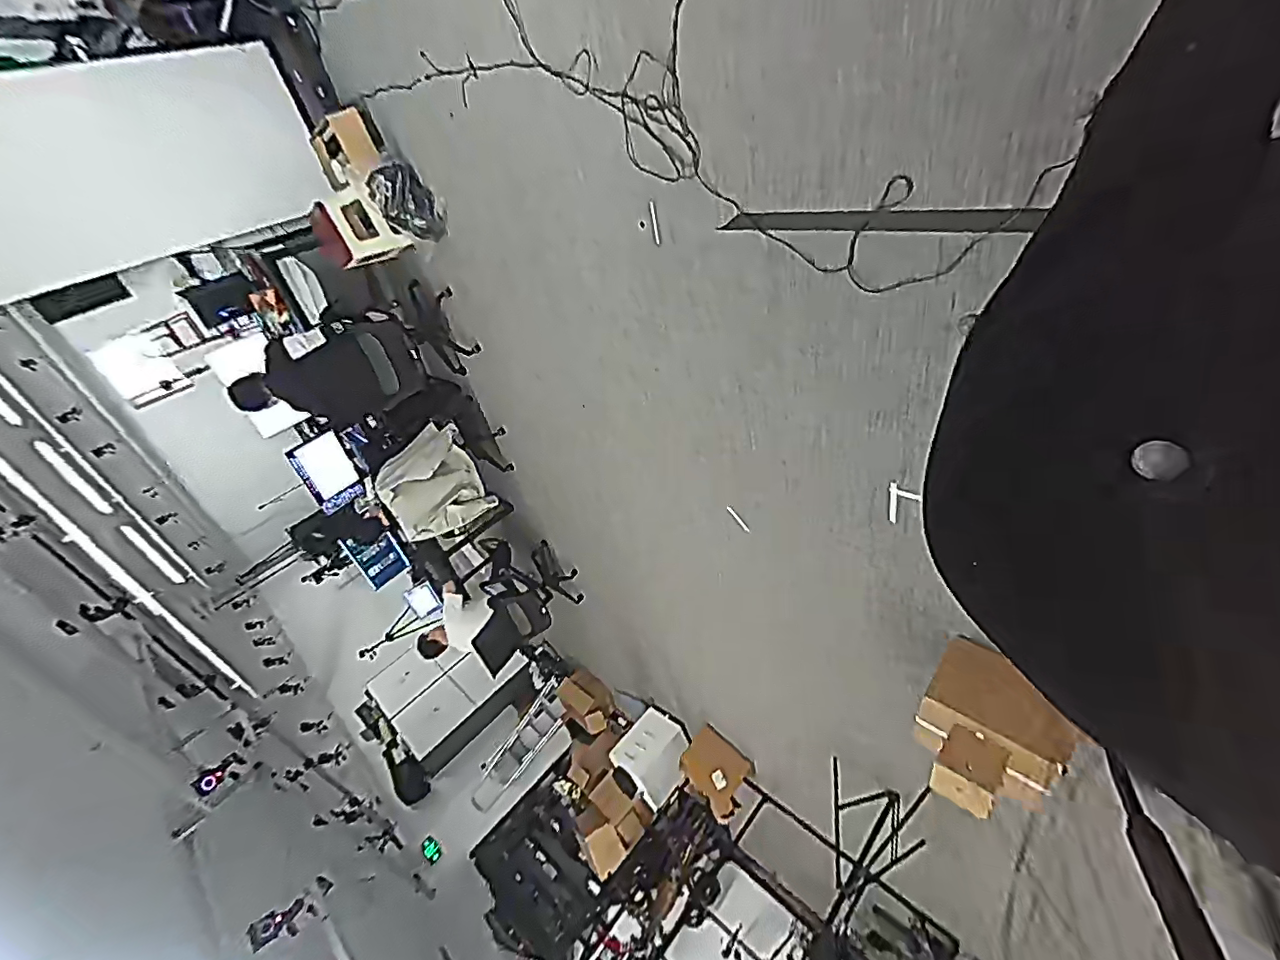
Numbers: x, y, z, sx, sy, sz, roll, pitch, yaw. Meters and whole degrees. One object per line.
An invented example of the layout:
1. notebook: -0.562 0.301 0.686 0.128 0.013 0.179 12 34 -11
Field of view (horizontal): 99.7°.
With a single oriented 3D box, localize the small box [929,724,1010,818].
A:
1. small box: 1.071 0.938 1.757 0.179 0.176 0.168 22 137 41
